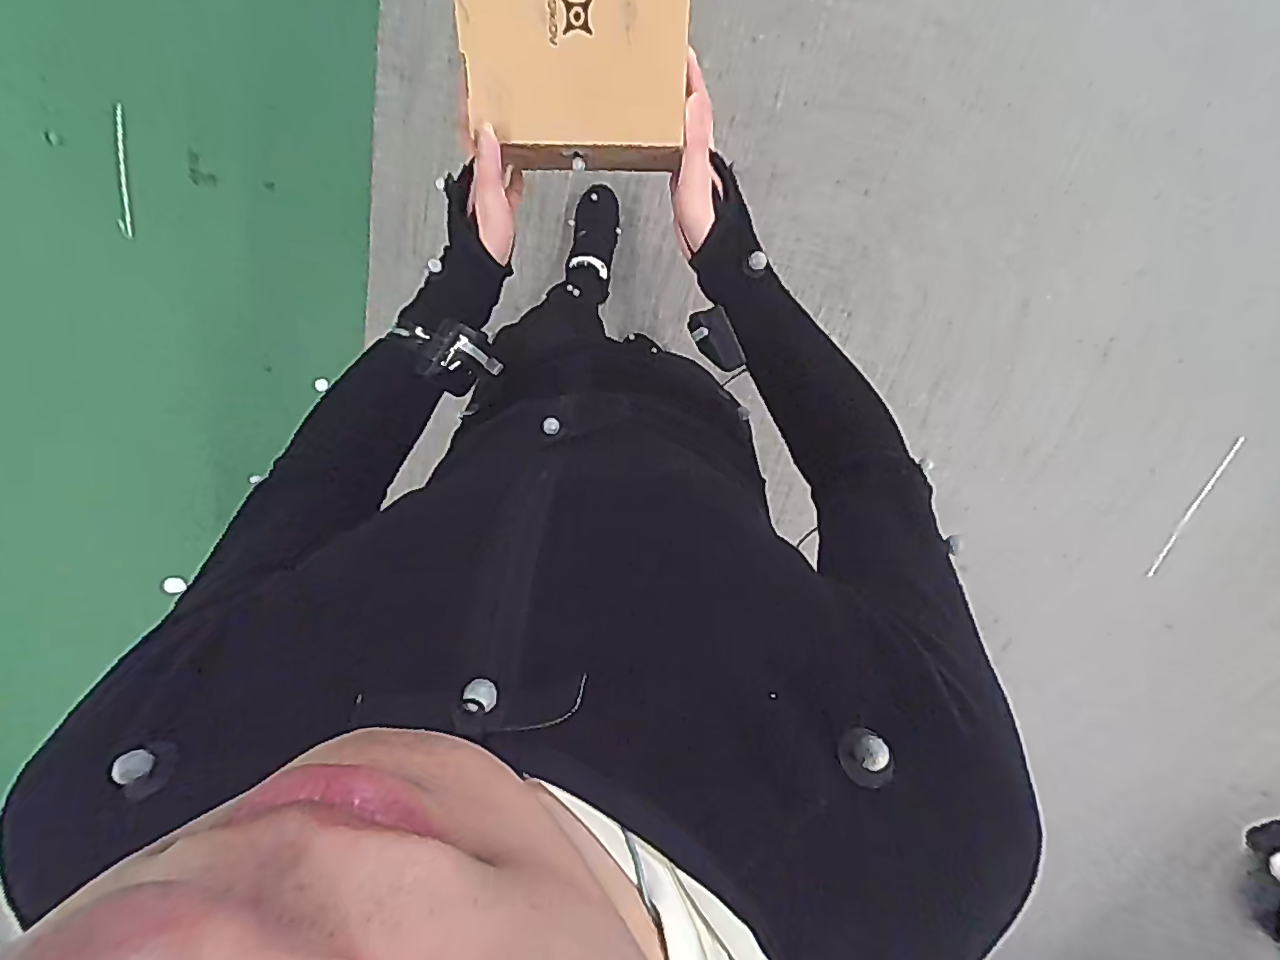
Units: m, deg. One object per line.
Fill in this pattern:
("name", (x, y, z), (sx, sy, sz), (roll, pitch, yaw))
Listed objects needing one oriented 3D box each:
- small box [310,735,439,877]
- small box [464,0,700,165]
("small box", (-0.530, 0.648, 1.089), (0.179, 0.176, 0.168), (12, 112, -3))
("small box", (-0.040, -0.379, 0.467), (0.179, 0.176, 0.168), (3, 114, 1))
